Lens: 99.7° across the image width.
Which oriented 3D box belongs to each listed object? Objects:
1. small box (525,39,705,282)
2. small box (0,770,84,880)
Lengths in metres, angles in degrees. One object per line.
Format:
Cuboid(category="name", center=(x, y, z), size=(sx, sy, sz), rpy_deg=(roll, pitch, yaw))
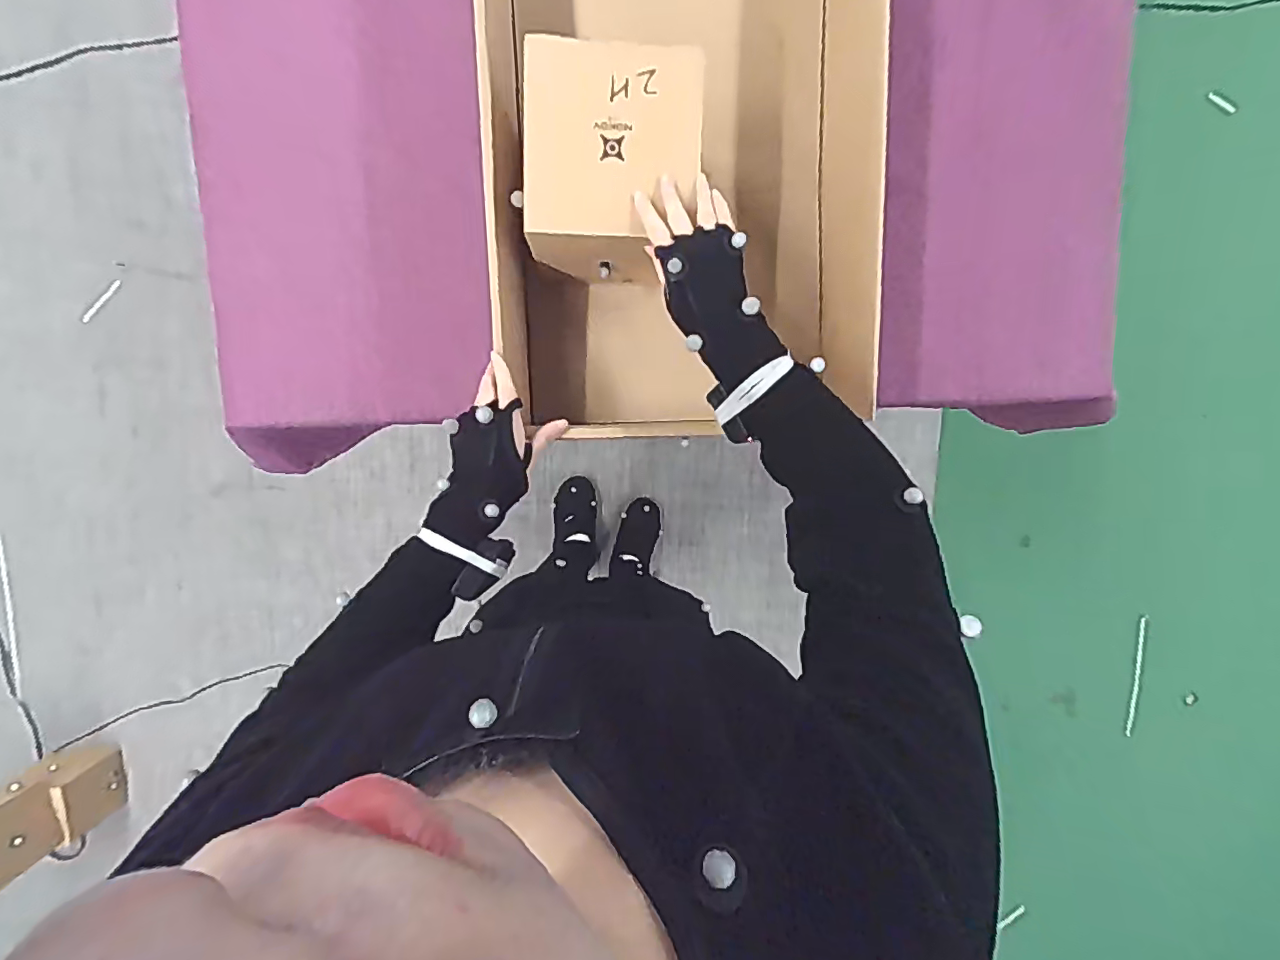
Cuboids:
Cuboid(category="small box", center=(-0.027, -0.325, 0.589), size=(0.168, 0.176, 0.179), rpy_deg=(2, 96, -3))
Cuboid(category="small box", center=(-1.528, 0.833, 1.309), size=(0.168, 0.176, 0.179), rpy_deg=(-12, 98, 1))
